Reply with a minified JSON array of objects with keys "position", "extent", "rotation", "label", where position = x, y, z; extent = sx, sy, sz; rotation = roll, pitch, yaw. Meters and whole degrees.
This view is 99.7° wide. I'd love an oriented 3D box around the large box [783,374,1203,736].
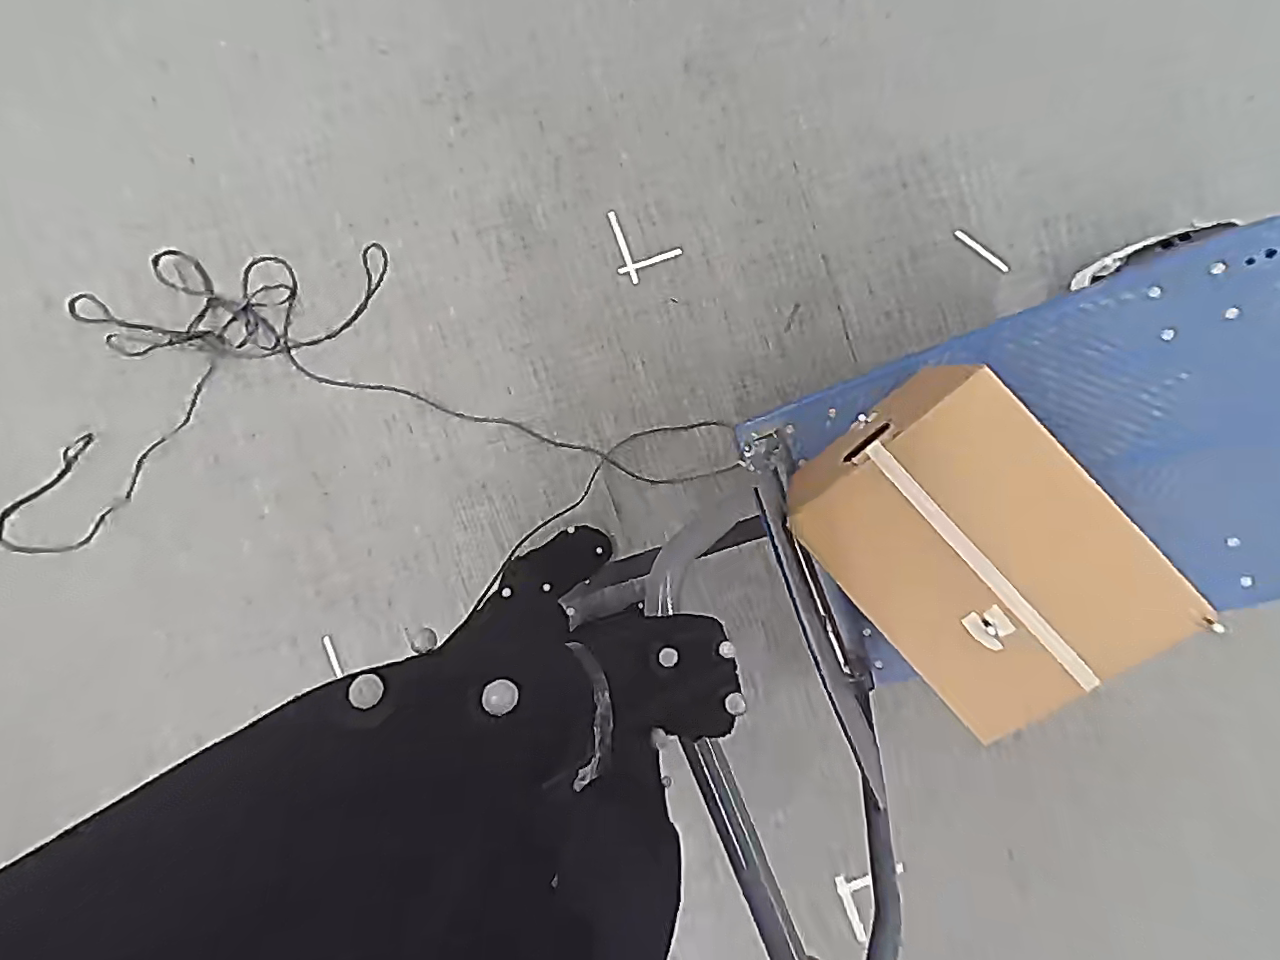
[{"position":[0.473,0.083,0.841],"extent":[0.320,0.320,0.408],"rotation":[-43,89,19],"label":"large box"}]
